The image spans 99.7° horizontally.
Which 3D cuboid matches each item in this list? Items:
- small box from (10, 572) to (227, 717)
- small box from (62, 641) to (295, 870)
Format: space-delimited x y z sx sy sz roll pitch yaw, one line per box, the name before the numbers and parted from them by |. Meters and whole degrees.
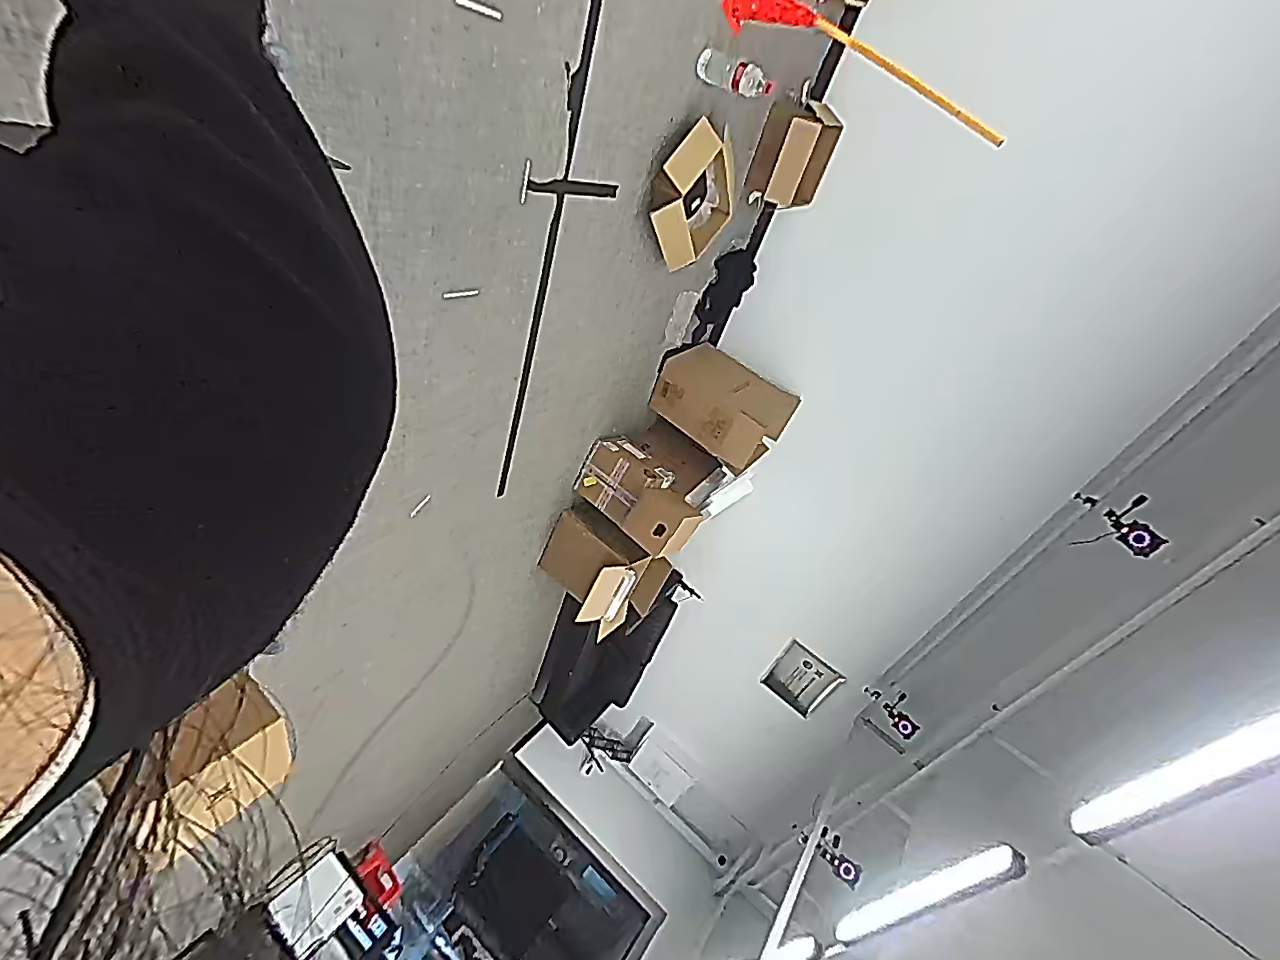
small box | -0.707 0.252 0.753 0.168 0.176 0.179 -32 153 -47
small box | -0.584 0.347 0.702 0.168 0.176 0.179 -34 153 -47
